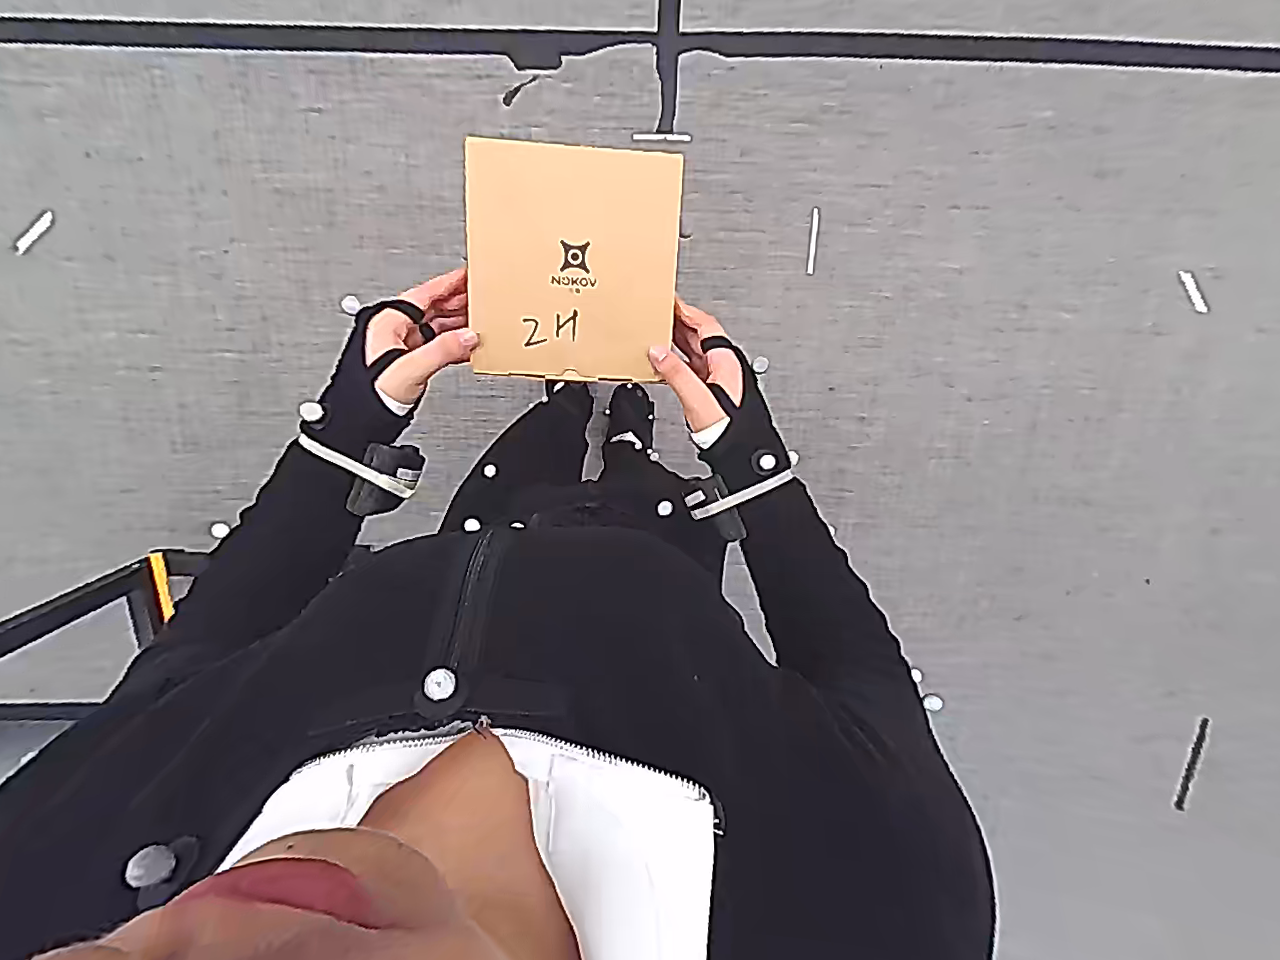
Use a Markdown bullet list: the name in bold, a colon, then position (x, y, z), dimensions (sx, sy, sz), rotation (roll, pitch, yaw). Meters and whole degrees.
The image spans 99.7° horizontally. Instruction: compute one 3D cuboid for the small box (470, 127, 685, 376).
- **small box**: position (-0.057, -0.196, 0.505), dimensions (0.168, 0.176, 0.179), rotation (2, 105, -4)
